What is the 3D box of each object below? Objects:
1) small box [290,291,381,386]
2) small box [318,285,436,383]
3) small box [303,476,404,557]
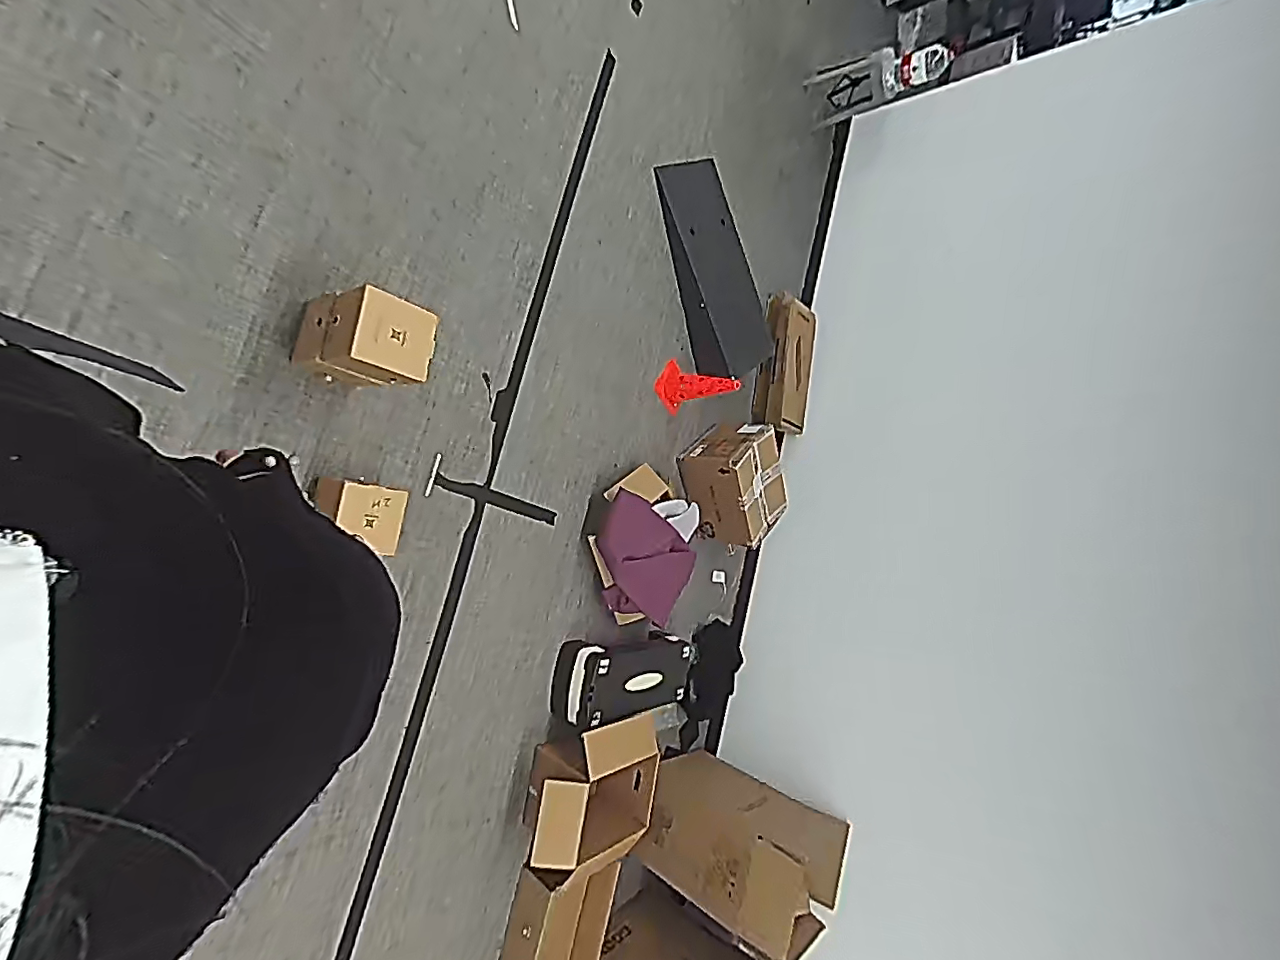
[{"bbox_3d":[-0.744,-0.346,1.353,0.168,0.176,0.179,21,79,-50],"label":"small box"},{"bbox_3d":[-0.612,-0.329,1.258,0.179,0.176,0.168,16,82,-49],"label":"small box"},{"bbox_3d":[-0.750,0.093,1.409,0.168,0.176,0.179,16,82,-50],"label":"small box"}]
